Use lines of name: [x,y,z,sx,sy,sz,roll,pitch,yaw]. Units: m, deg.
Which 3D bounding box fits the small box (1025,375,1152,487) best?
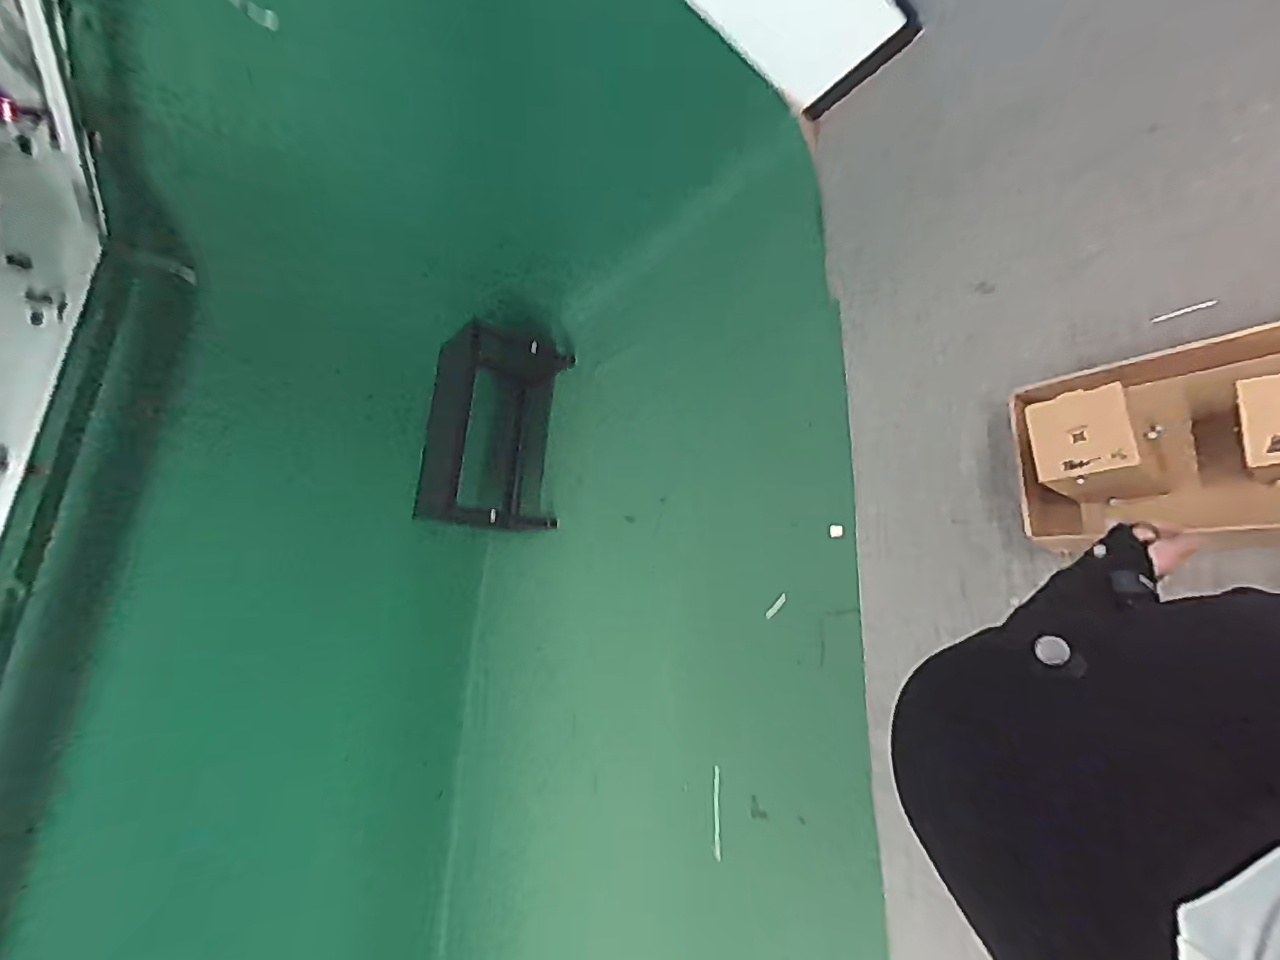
small box: [0.957,-0.096,1.156,0.168,0.176,0.179,-18,65,48]
